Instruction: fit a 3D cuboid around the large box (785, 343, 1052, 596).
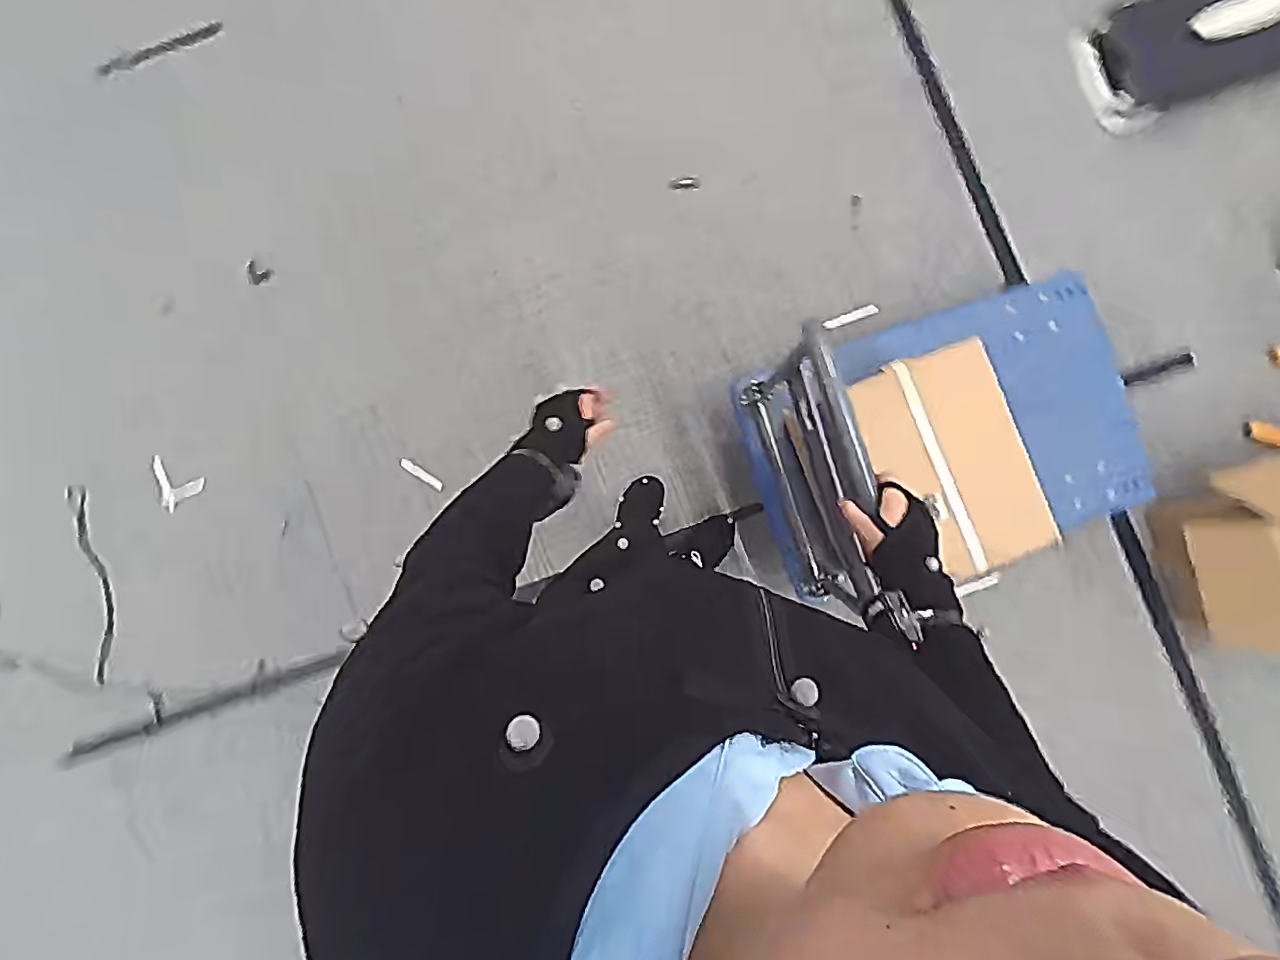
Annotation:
[{"bbox_3d":[0.556,-0.020,1.156,0.320,0.320,0.408,-21,89,2],"label":"large box"}]
